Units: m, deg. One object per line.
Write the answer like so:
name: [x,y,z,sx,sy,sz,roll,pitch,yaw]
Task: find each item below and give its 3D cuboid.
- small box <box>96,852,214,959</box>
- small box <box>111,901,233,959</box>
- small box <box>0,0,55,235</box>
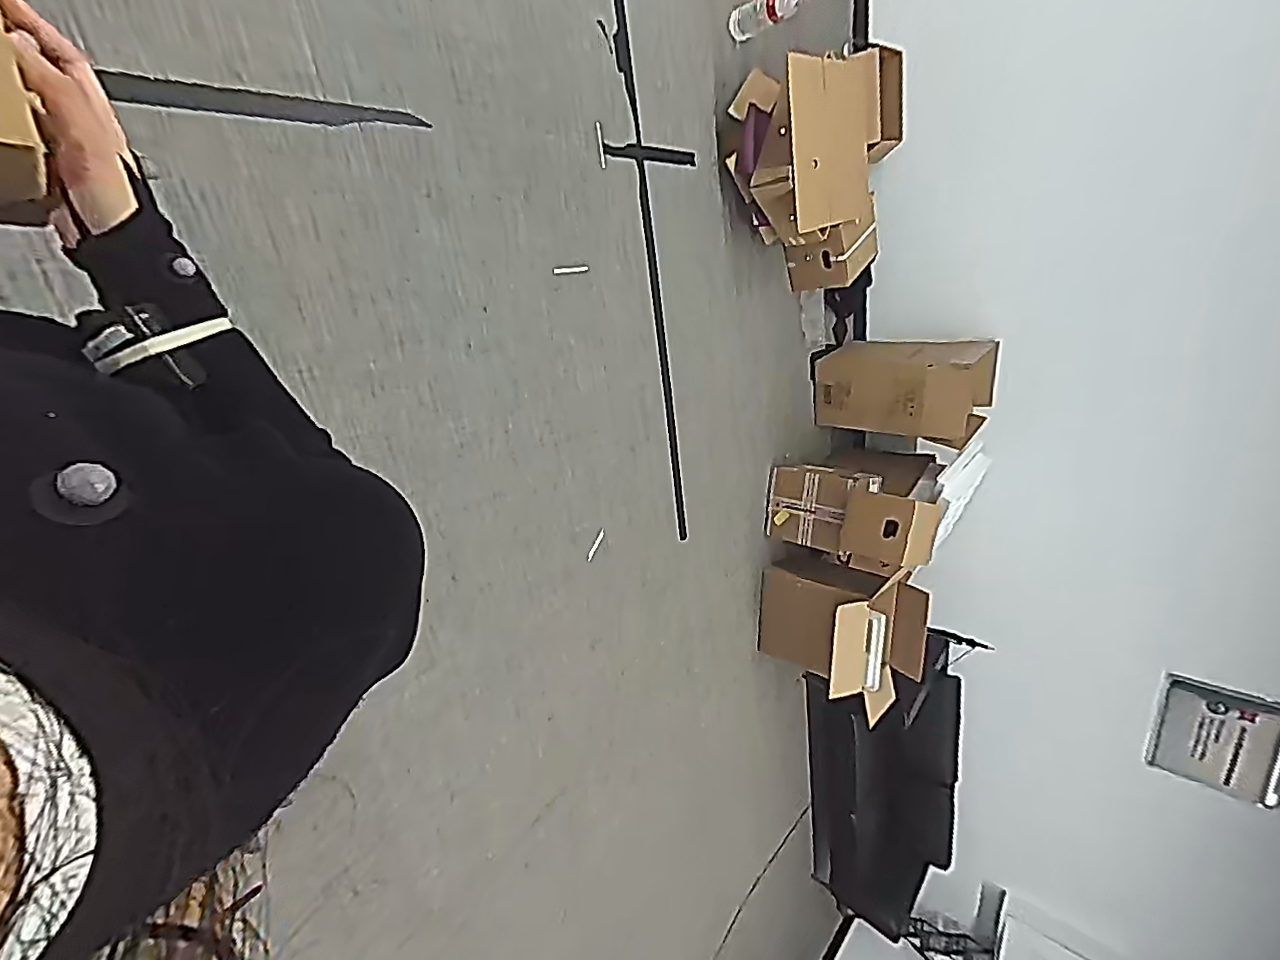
small box: [-1.067,0.992,1.201,0.179,0.176,0.168,-21,112,-44]
small box: [-0.944,1.021,1.096,0.179,0.176,0.168,-17,109,-45]
small box: [-0.427,-0.237,0.260,0.168,0.176,0.179,-19,108,-44]
